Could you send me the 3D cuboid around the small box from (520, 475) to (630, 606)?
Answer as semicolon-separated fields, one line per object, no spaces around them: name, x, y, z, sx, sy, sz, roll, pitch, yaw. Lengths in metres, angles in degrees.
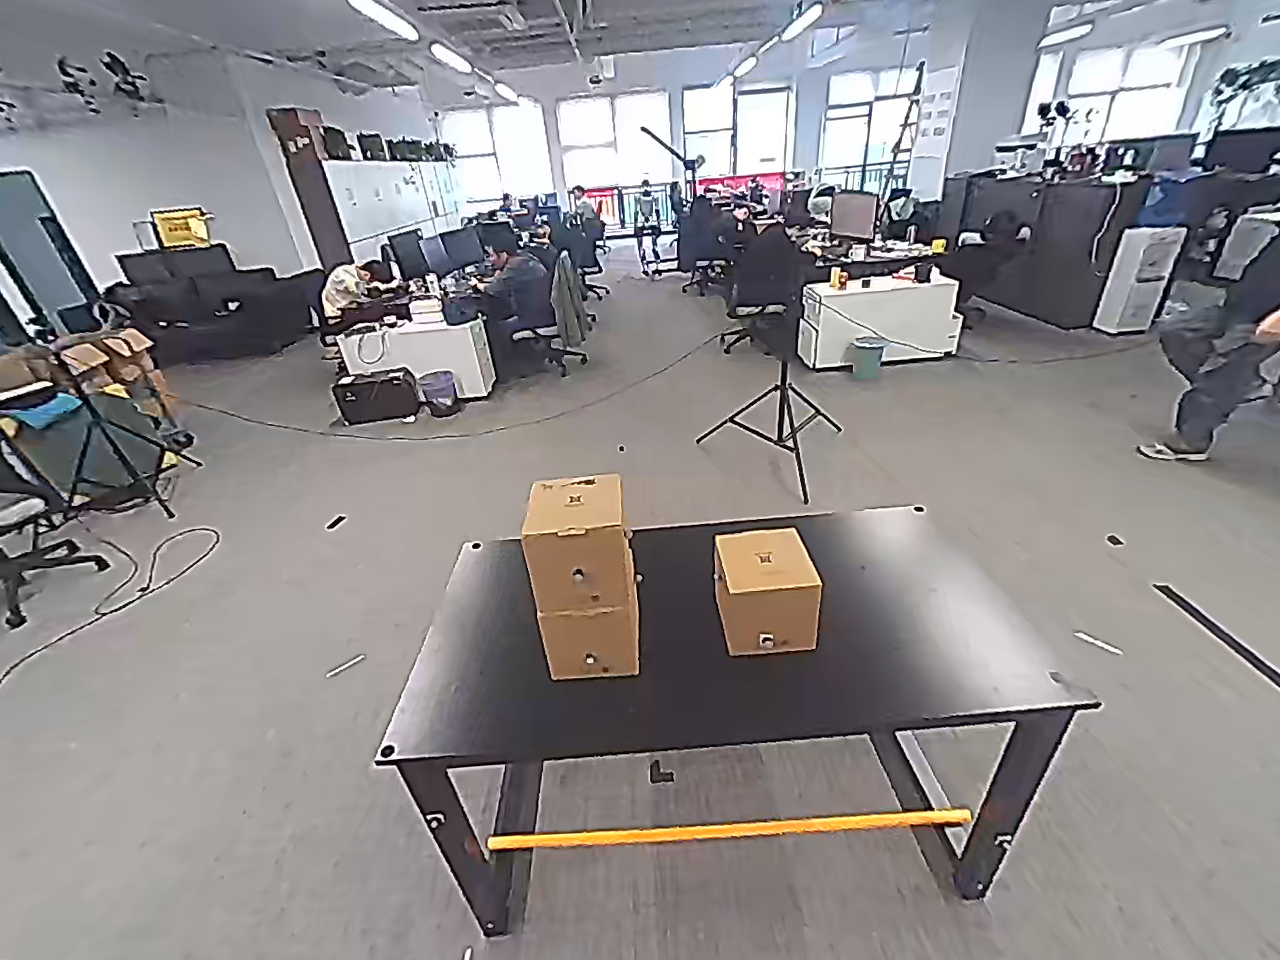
small box;-0.109;0.113;0.976;0.168;0.176;0.179;-5;31;0

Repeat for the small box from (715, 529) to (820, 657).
small box;0.242;0.220;1.067;0.168;0.176;0.179;-7;31;1

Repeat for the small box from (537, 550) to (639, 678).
small box;-0.093;0.258;1.051;0.168;0.176;0.179;-4;30;2
